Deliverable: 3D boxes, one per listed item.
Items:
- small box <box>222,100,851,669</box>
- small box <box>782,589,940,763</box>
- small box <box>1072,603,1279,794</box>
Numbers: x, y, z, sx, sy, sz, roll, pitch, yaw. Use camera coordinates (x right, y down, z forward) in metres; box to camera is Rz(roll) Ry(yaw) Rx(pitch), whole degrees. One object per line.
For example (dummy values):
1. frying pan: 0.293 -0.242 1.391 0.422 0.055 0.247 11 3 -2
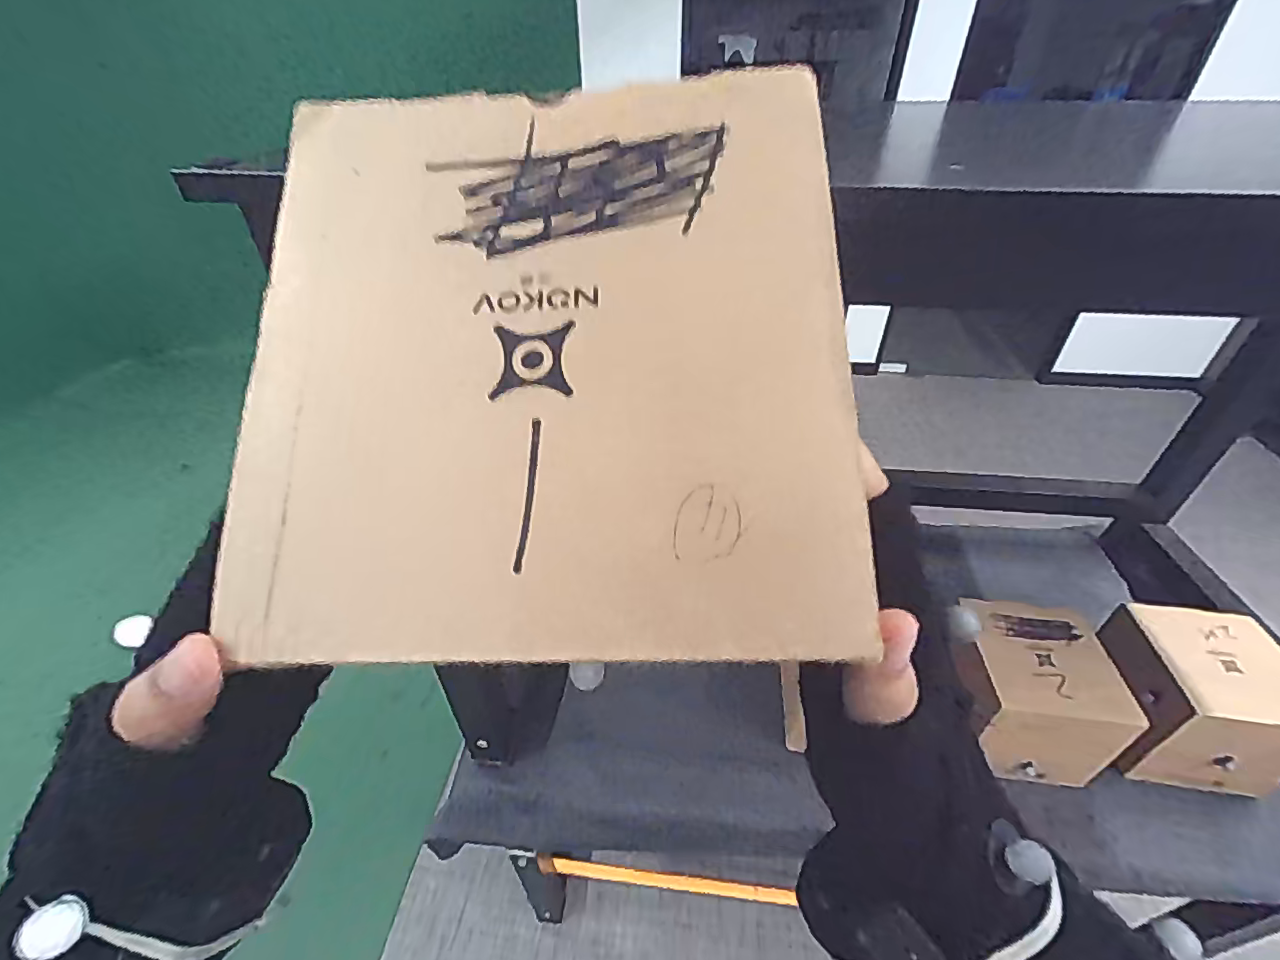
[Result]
1. small box: -0.022 -0.016 0.235 0.168 0.176 0.179 -2 76 5
2. small box: 0.302 0.279 0.782 0.168 0.176 0.179 5 38 7
3. small box: 0.753 0.299 0.744 0.168 0.176 0.179 6 38 8
